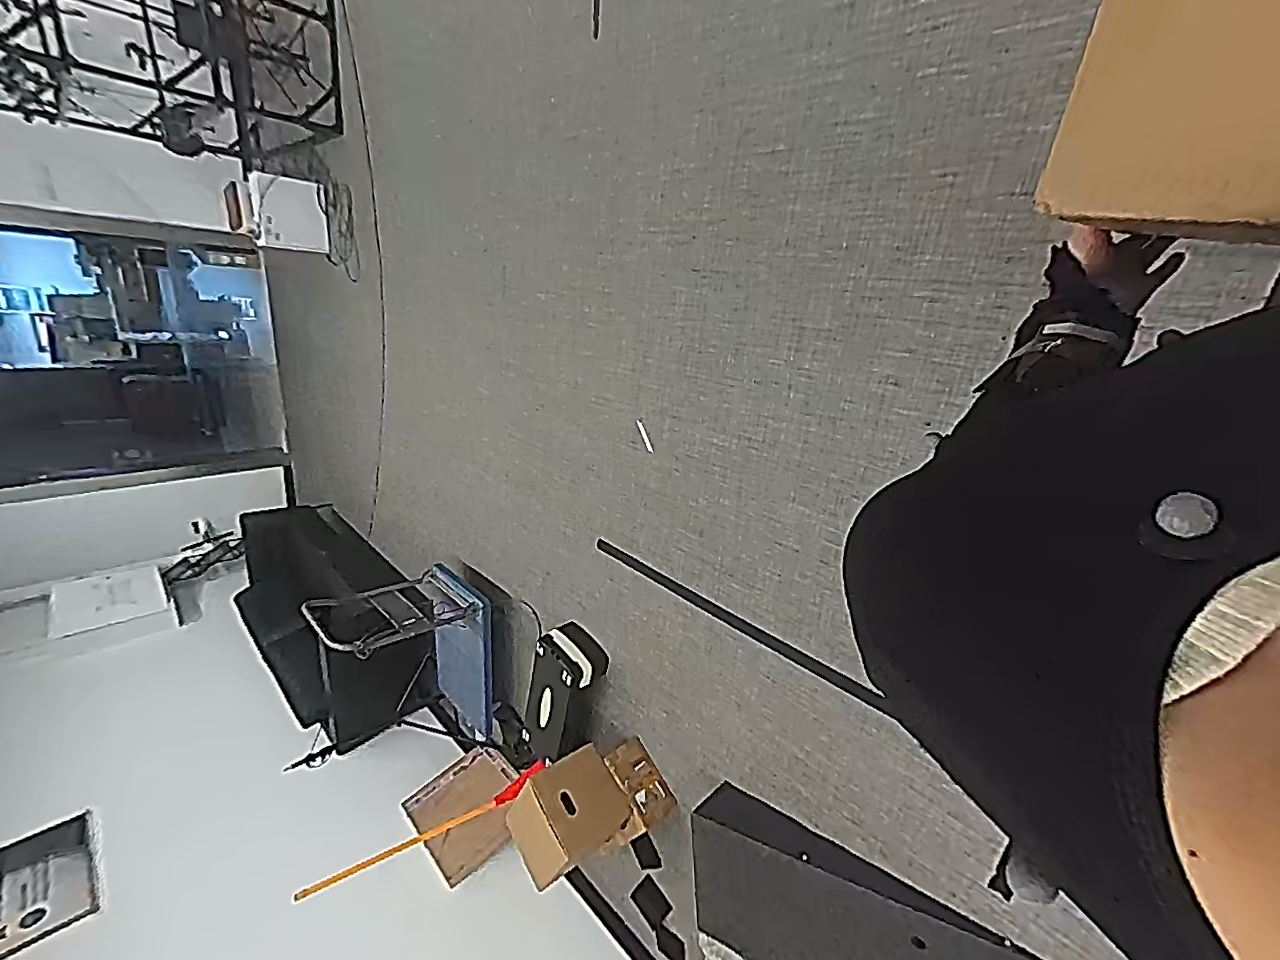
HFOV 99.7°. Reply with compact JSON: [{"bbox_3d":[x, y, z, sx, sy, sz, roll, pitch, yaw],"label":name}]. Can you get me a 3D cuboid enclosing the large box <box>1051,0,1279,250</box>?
[{"bbox_3d":[0.491,-0.262,0.227,0.408,0.320,0.320,27,124,40],"label":"large box"}]
